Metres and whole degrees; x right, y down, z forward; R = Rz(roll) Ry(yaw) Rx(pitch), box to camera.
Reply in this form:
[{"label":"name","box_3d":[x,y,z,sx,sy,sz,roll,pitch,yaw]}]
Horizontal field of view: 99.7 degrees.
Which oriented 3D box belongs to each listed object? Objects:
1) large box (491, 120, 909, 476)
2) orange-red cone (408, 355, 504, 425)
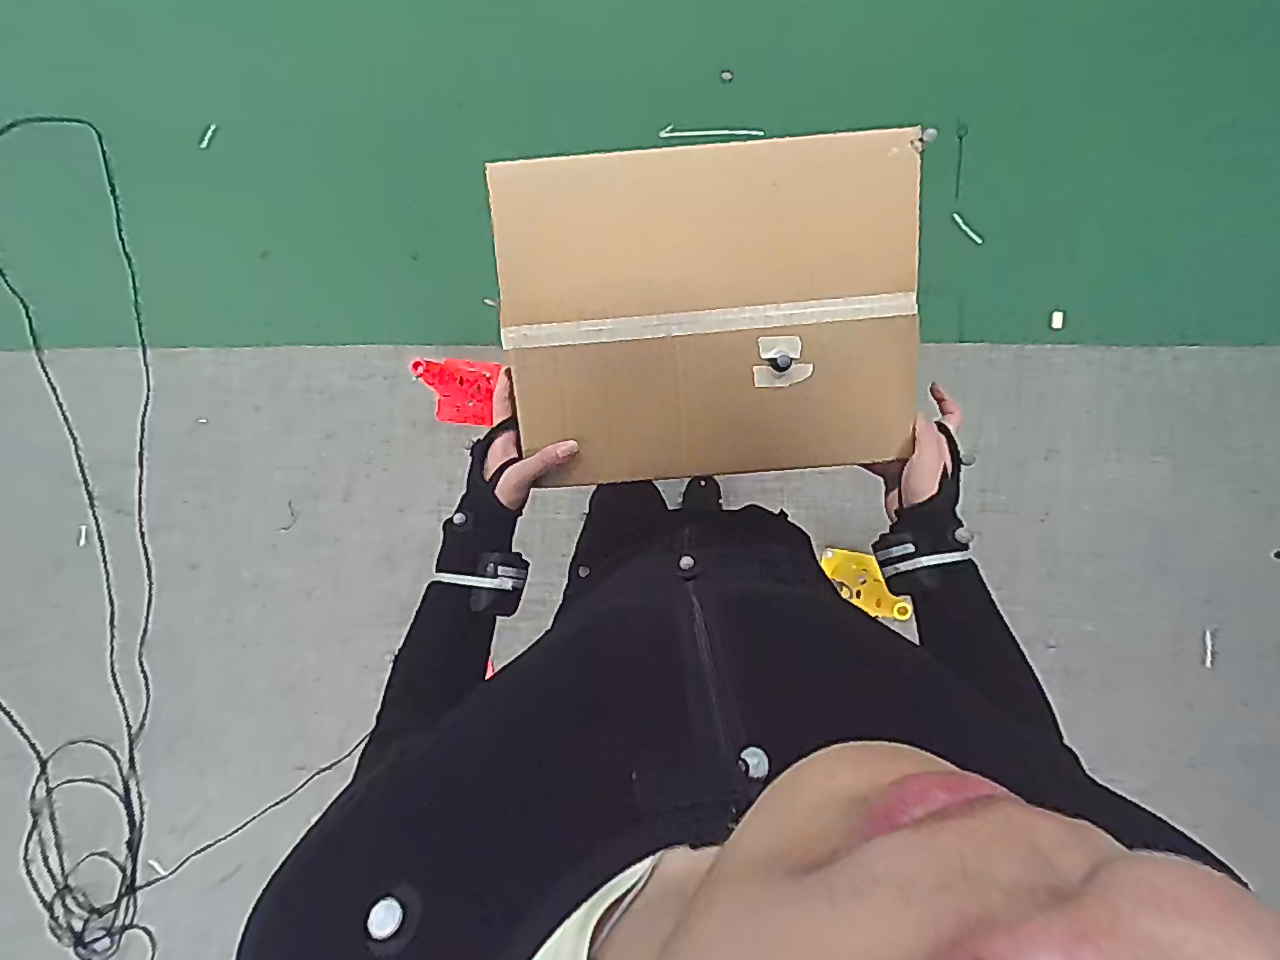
[{"label":"large box","box_3d":[0.065,-0.200,0.685,0.408,0.320,0.320,-5,103,0]},{"label":"orange-red cone","box_3d":[-0.541,-0.280,1.499,0.199,0.360,0.198,8,88,5]}]
